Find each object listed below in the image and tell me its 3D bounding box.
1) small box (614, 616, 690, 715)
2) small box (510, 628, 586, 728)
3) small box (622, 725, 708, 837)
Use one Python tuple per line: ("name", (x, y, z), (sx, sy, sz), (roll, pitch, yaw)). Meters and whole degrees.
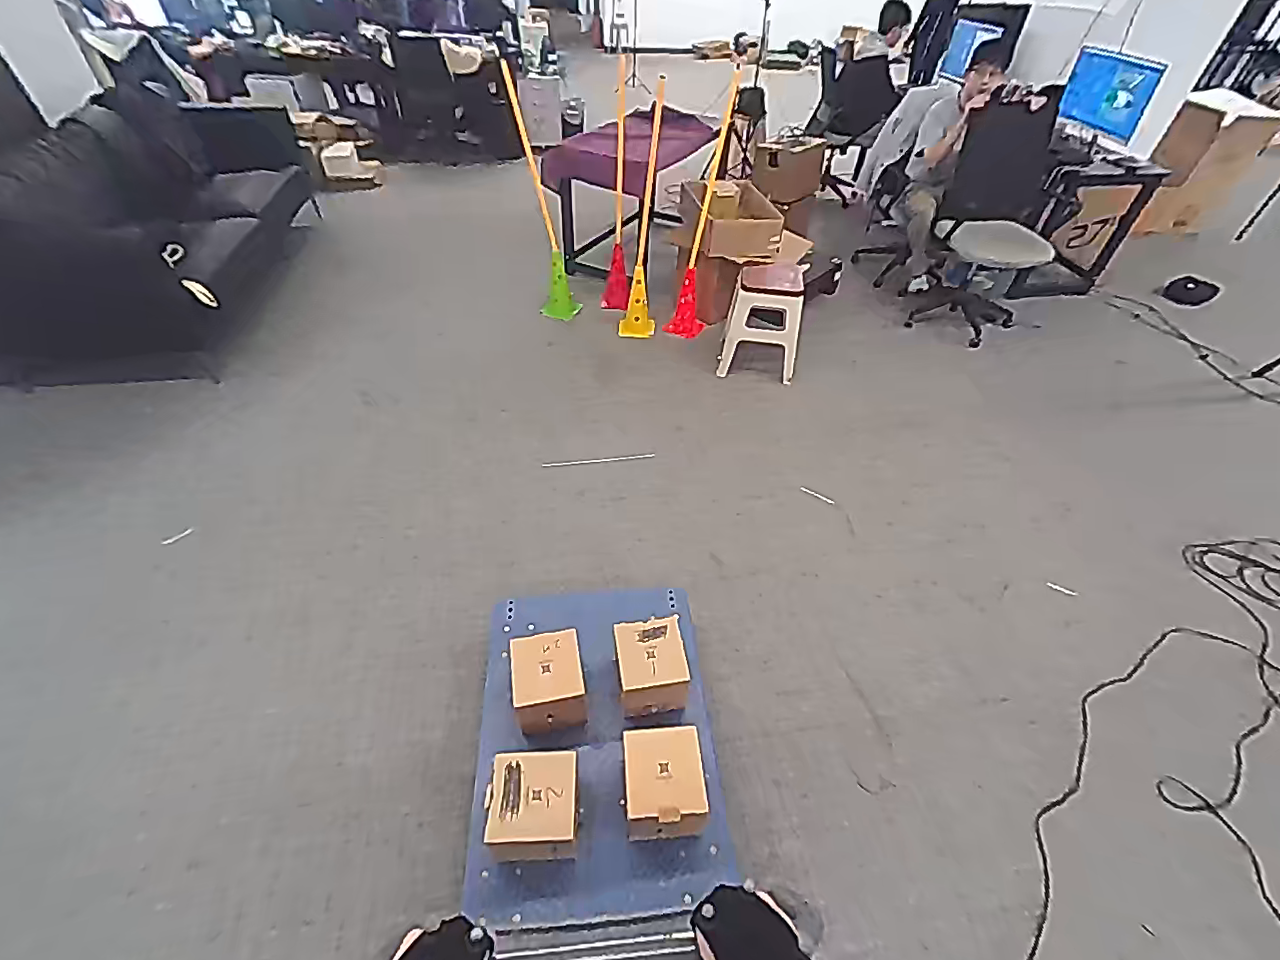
("small box", (0.023, 0.477, 1.390), (0.168, 0.176, 0.179), (-6, 47, -8))
("small box", (-0.229, 0.501, 1.354), (0.168, 0.176, 0.179), (-7, 46, -10))
("small box", (0.048, 0.669, 1.203), (0.168, 0.176, 0.179), (-2, 46, -5))
